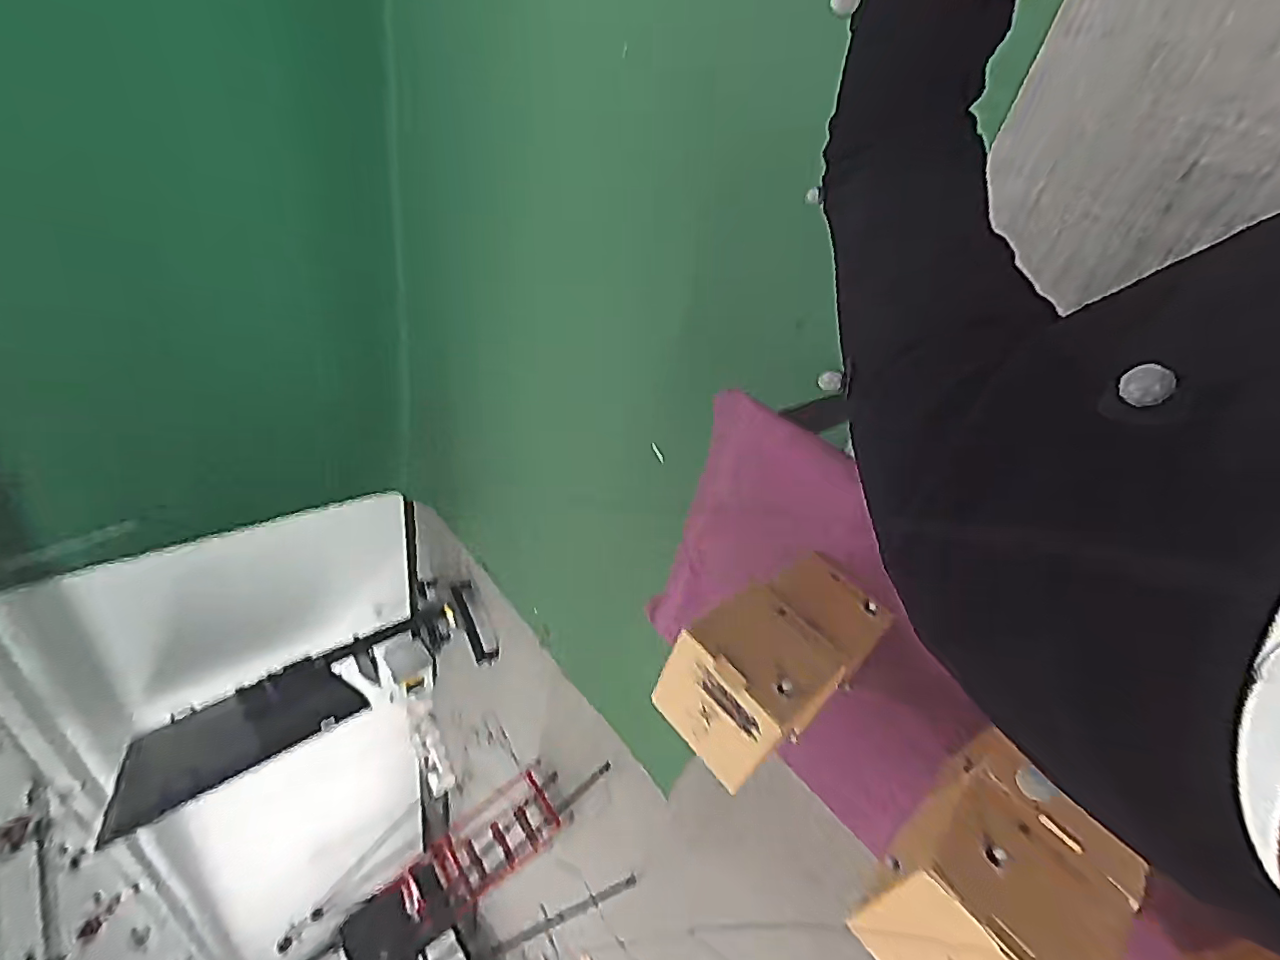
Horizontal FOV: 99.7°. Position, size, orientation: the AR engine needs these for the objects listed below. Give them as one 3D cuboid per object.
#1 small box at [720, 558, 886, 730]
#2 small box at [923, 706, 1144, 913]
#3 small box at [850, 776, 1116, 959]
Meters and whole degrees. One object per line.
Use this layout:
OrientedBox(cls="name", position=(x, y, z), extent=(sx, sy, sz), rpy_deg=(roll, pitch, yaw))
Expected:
OrientedBox(cls="small box", position=(0.266, 0.255, 0.876), extent=(0.168, 0.176, 0.179), rpy_deg=(44, 133, 30))
OrientedBox(cls="small box", position=(0.495, 0.430, 0.695), extent=(0.168, 0.176, 0.179), rpy_deg=(42, 132, 30))
OrientedBox(cls="small box", position=(0.373, 0.471, 0.594), extent=(0.168, 0.176, 0.179), rpy_deg=(41, 132, 30))
